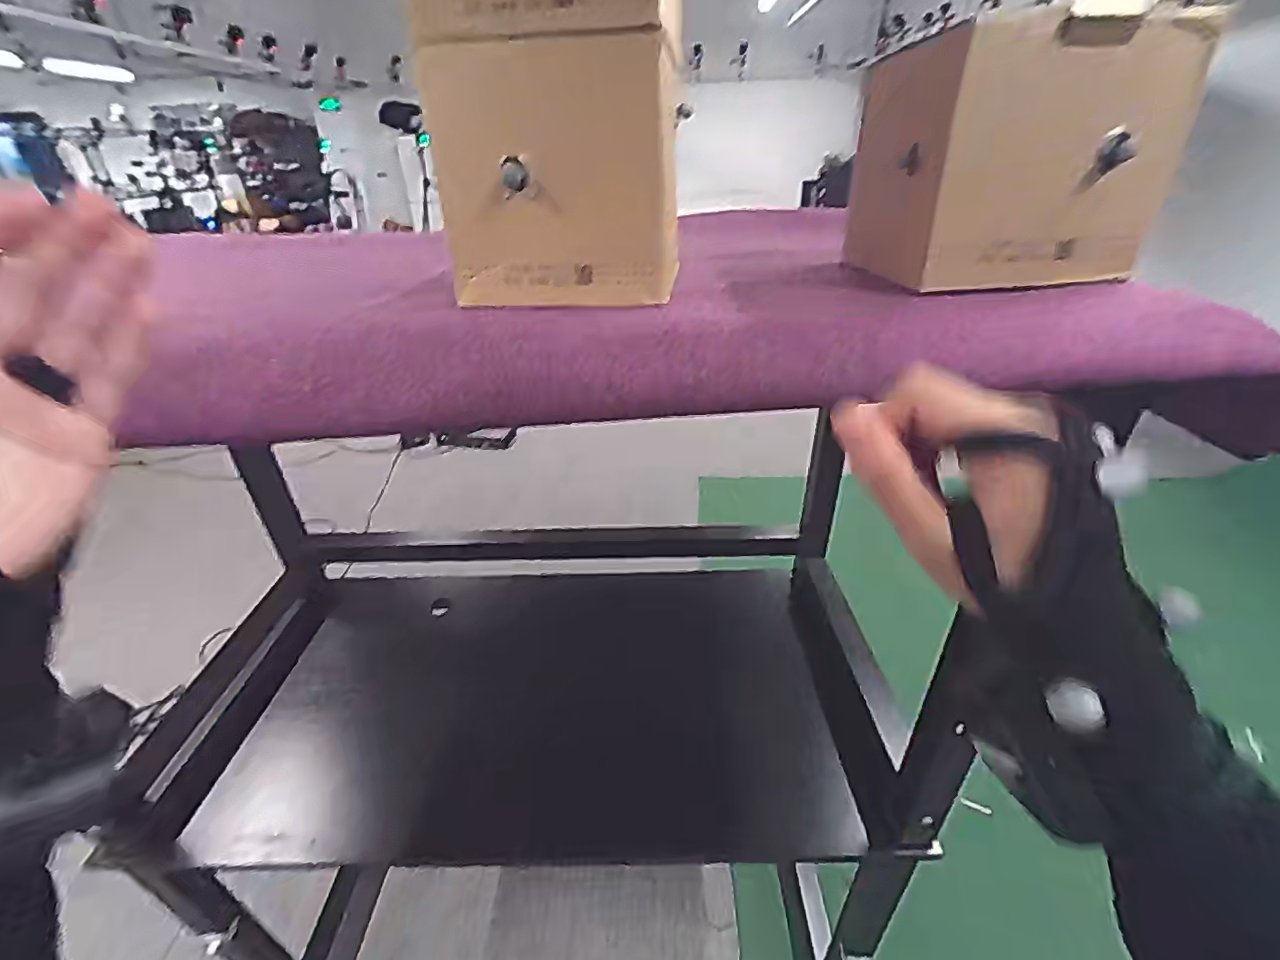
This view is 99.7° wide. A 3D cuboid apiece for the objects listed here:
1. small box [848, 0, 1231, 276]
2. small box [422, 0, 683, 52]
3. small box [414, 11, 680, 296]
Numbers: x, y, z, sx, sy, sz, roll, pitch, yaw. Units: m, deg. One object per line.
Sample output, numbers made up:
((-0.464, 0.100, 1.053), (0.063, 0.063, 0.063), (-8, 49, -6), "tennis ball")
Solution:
((0.289, -0.266, 0.446), (0.168, 0.176, 0.179), (-2, 29, 0), "small box")
((-0.056, -0.396, 0.366), (0.168, 0.176, 0.179), (2, 30, 6), "small box")
((-0.053, -0.252, 0.446), (0.168, 0.176, 0.179), (2, 30, 6), "small box")
